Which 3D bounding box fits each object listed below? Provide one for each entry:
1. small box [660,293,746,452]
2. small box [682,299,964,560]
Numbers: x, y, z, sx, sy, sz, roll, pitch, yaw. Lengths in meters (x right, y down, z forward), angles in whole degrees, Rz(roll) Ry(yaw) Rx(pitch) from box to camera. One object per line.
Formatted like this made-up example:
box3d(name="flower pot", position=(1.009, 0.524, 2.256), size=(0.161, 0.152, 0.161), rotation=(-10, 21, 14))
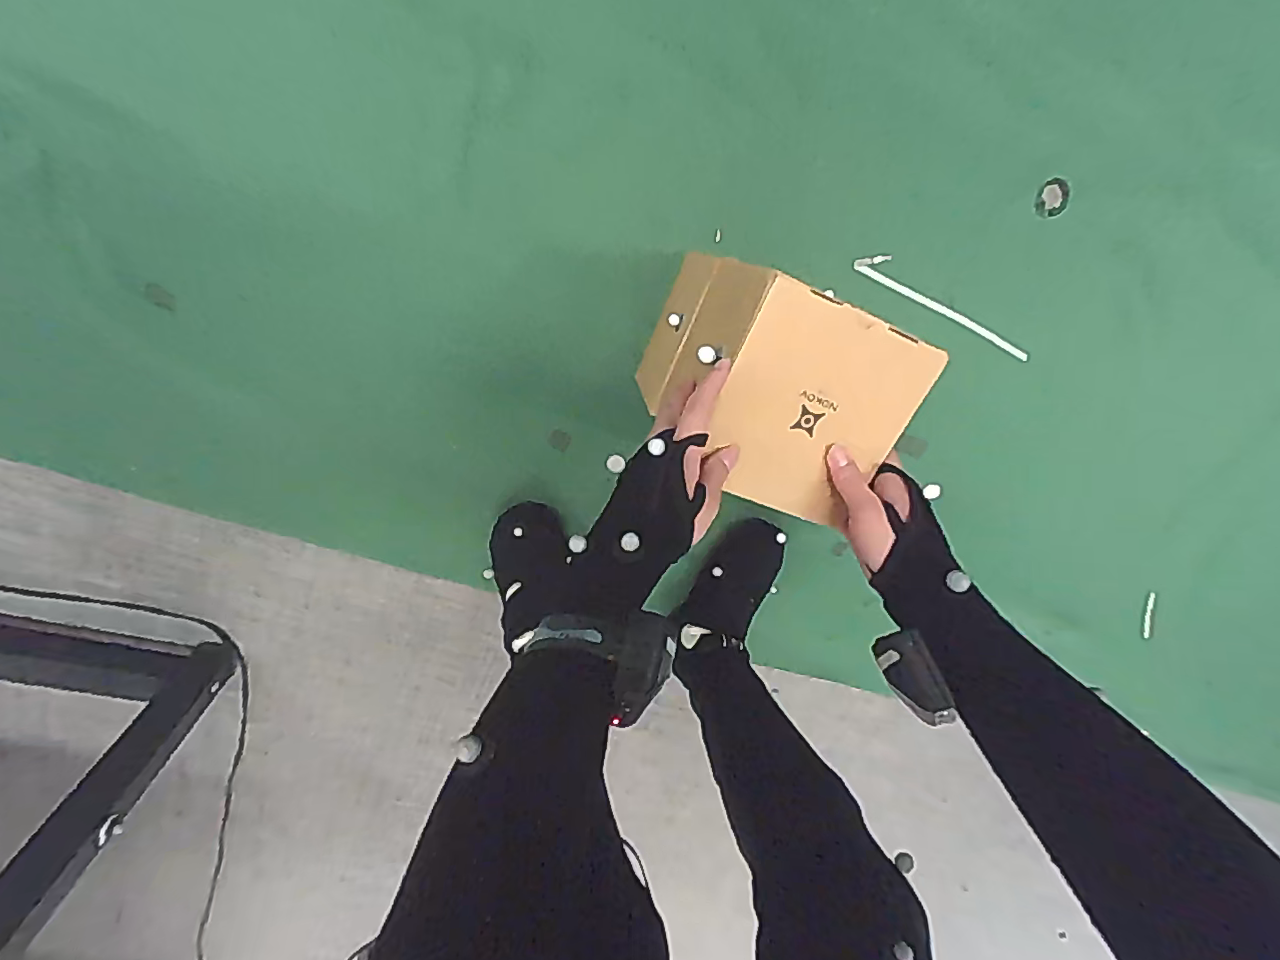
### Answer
box3d(name="small box", position=(0.132, -0.116, 0.663), size=(0.168, 0.176, 0.179), rotation=(19, 110, -11))
box3d(name="small box", position=(0.148, -0.057, 0.514), size=(0.168, 0.176, 0.179), rotation=(19, 108, -11))
